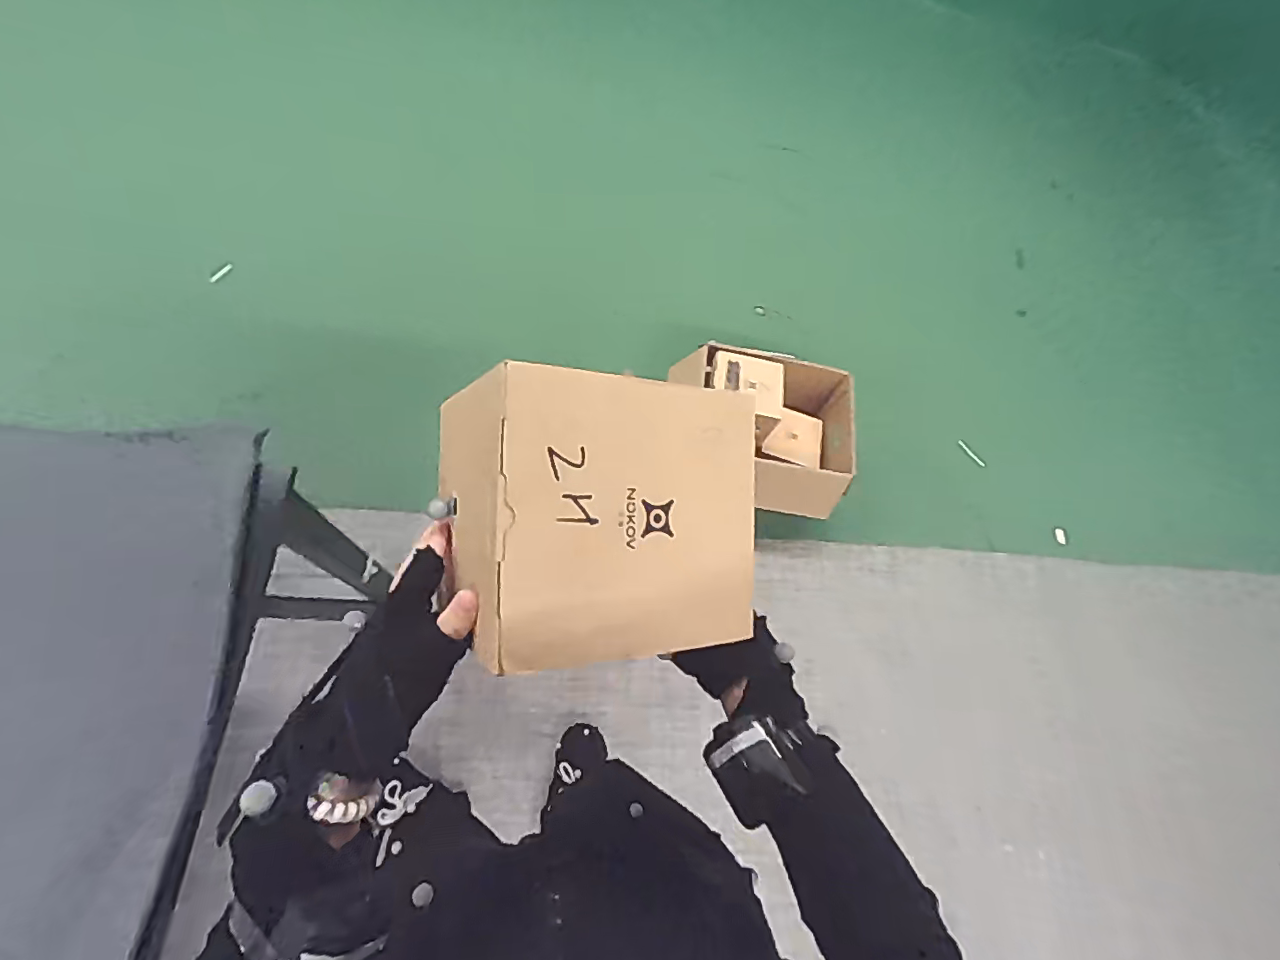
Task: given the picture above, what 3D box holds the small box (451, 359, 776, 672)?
[{"bbox_3d":[-0.026,0.022,0.389,0.179,0.176,0.168,3,88,-30],"label":"small box"}]
